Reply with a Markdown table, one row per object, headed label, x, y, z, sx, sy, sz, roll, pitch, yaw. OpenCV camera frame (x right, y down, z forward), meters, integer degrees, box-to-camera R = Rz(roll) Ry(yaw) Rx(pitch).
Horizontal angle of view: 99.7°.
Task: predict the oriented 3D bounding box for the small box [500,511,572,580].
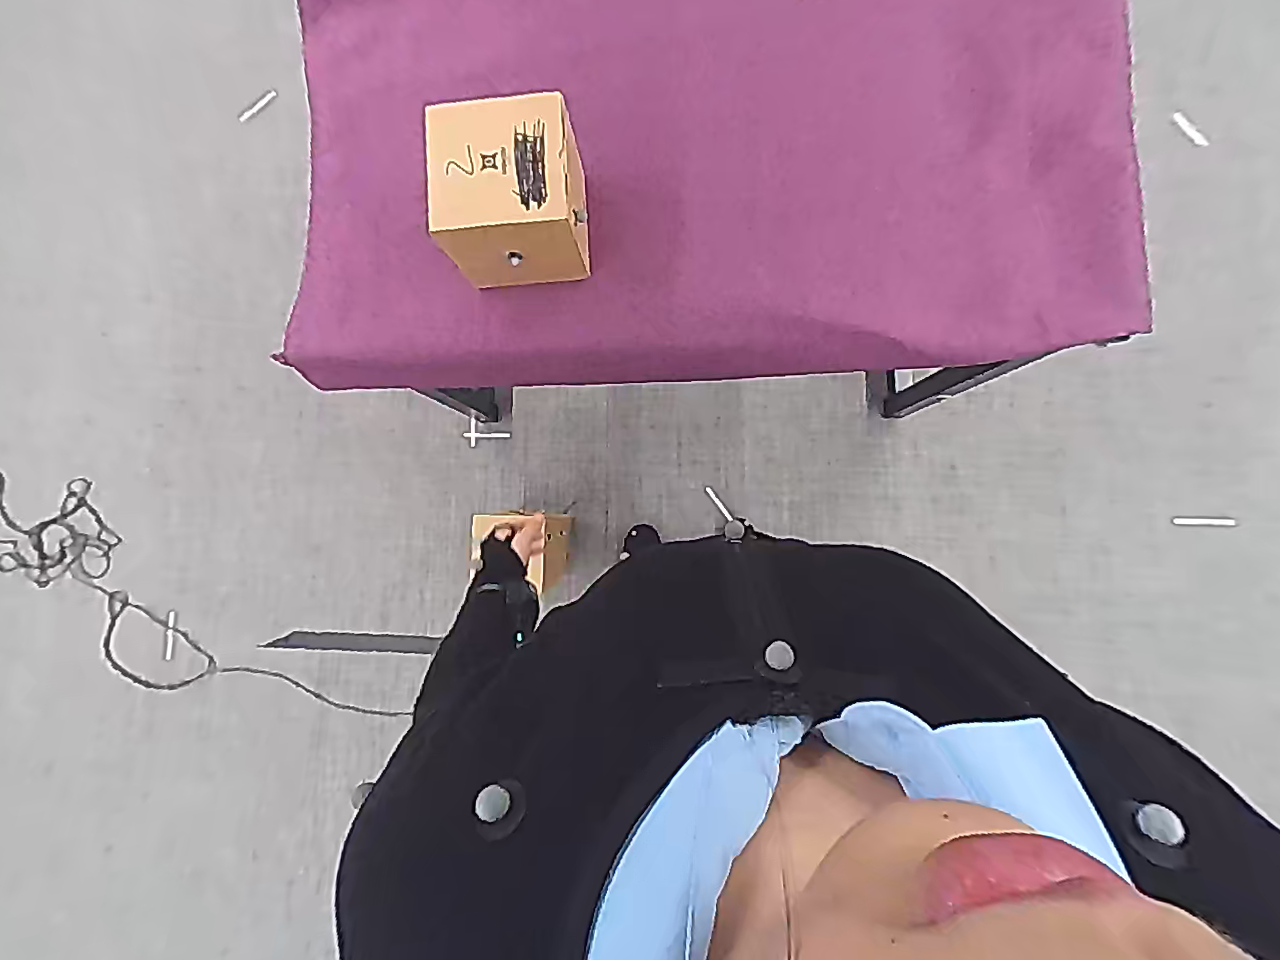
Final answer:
| label | x | y | z | sx | sy | sz | roll | pitch | yaw |
| --- | --- | --- | --- | --- | --- | --- | --- | --- | --- |
| small box | -0.283 | 0.179 | 1.447 | 0.168 | 0.176 | 0.179 | 7 | 87 | 3 |

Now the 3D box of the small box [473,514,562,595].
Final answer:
| label | x | y | z | sx | sy | sz | roll | pitch | yaw |
| --- | --- | --- | --- | --- | --- | --- | --- | --- | --- |
| small box | -0.284 | 0.172 | 1.282 | 0.168 | 0.176 | 0.179 | 1 | 87 | 3 |
